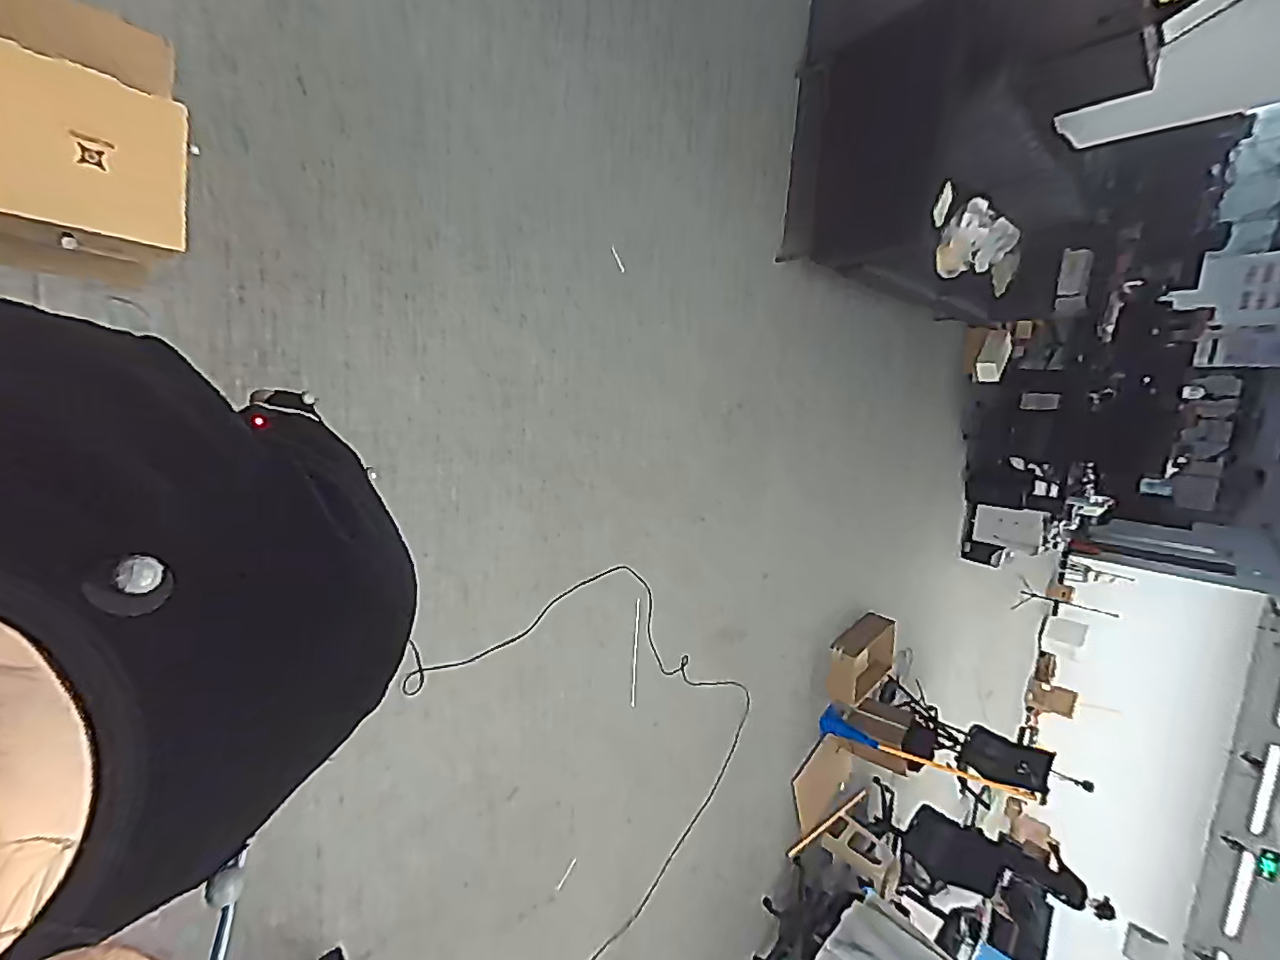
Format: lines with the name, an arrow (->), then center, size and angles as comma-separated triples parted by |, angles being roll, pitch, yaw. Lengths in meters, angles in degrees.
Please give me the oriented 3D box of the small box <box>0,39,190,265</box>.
small box -> -0.670, -0.380, 0.669 | 0.168, 0.176, 0.179 | -1, 99, -44
